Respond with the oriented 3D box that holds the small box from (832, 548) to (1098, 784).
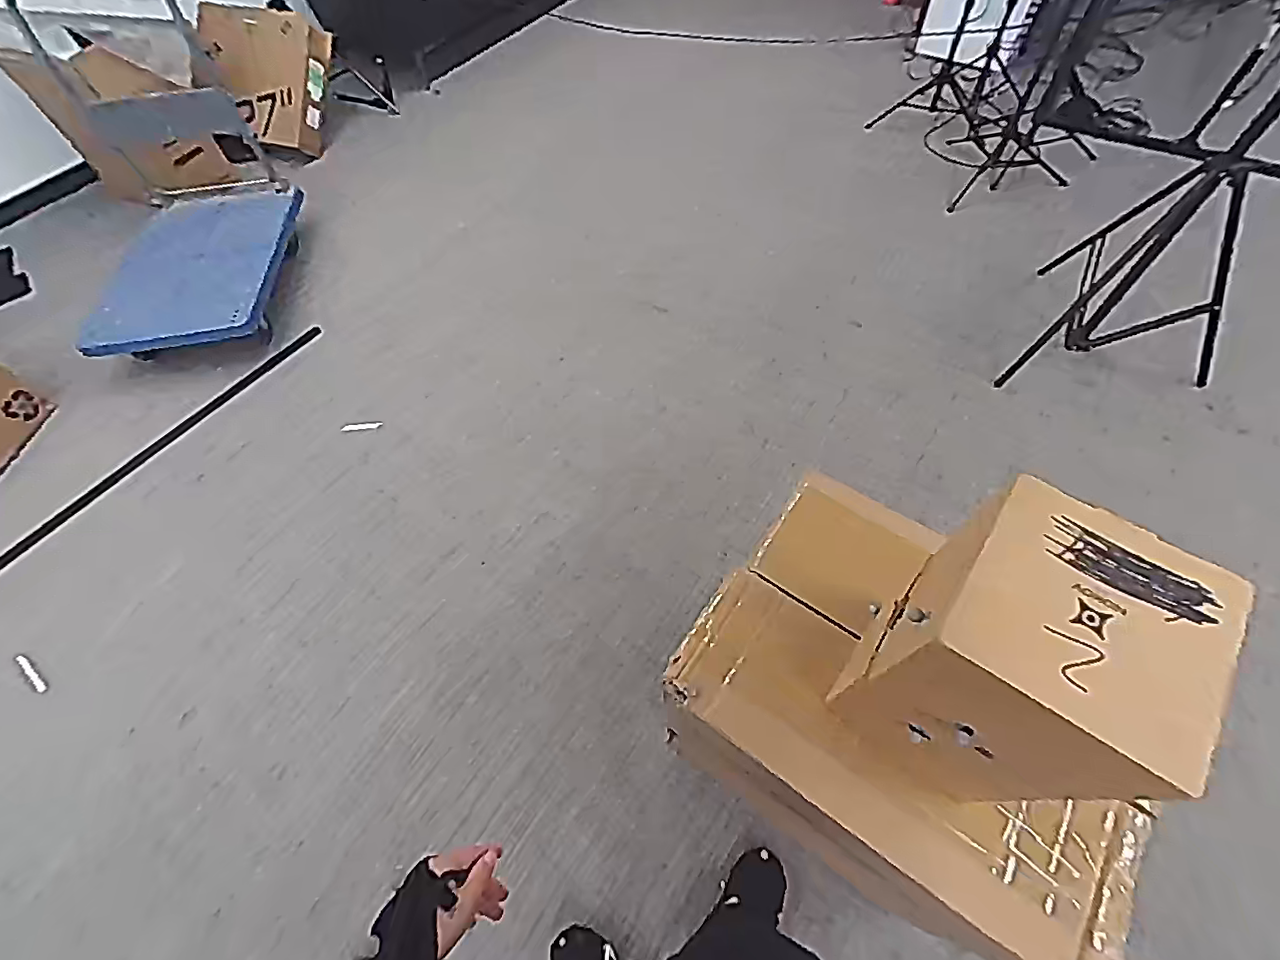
[{"bbox_3d":[0.341,0.213,0.602,0.179,0.176,0.168,32,66,21],"label":"small box"}]
